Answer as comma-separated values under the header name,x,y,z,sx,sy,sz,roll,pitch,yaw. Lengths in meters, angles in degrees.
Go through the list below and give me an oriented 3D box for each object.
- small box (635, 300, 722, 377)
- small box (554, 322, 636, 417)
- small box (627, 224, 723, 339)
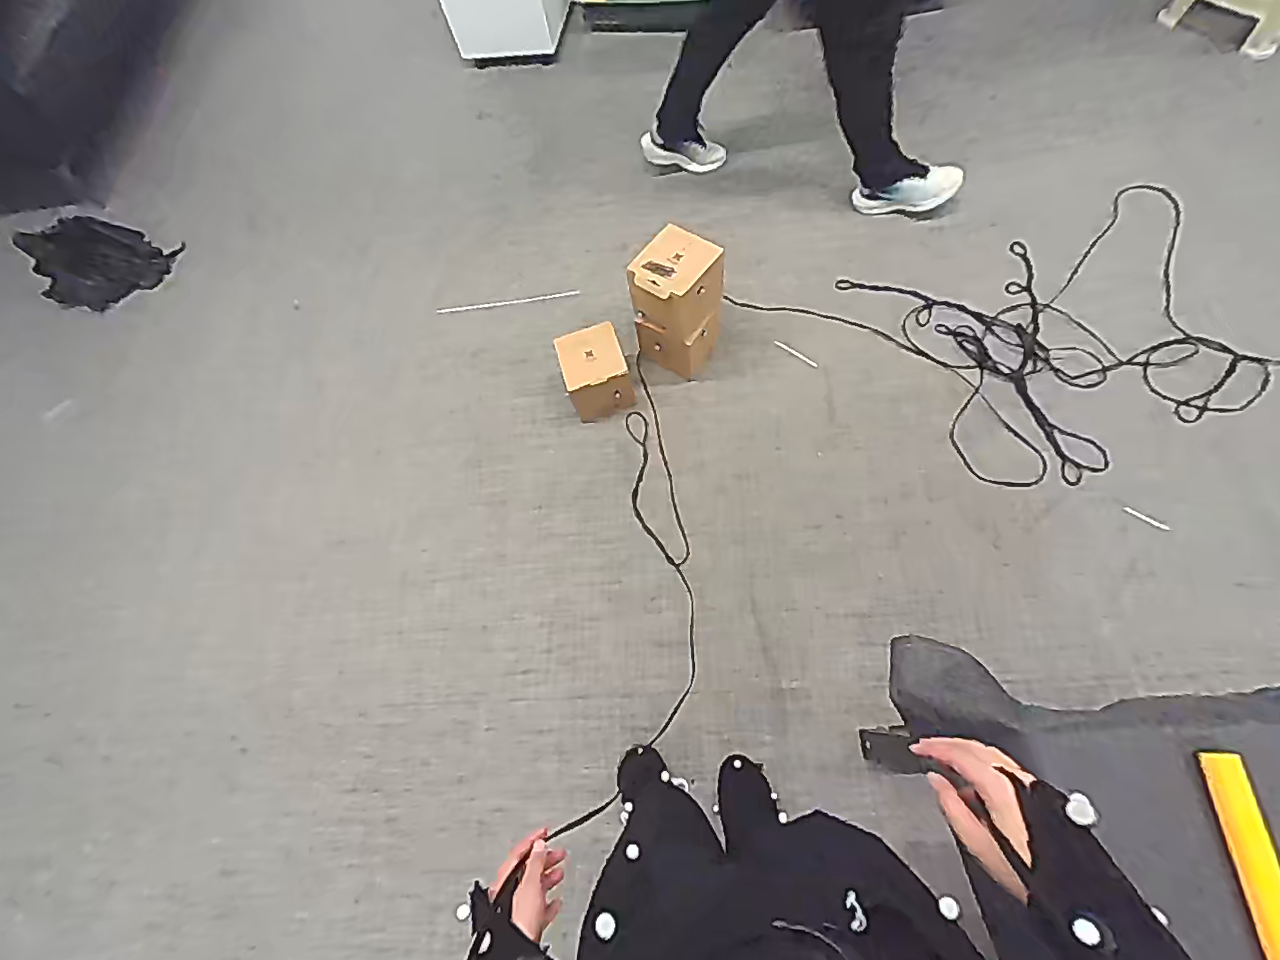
name,x,y,z,sx,sy,sz,roll,pitch,yaw
small box,0.110,-0.414,1.496,0.179,0.176,0.168,29,74,18
small box,-0.119,-0.292,1.481,0.168,0.176,0.179,-19,65,-1
small box,0.092,-0.488,1.349,0.168,0.176,0.179,35,75,19
